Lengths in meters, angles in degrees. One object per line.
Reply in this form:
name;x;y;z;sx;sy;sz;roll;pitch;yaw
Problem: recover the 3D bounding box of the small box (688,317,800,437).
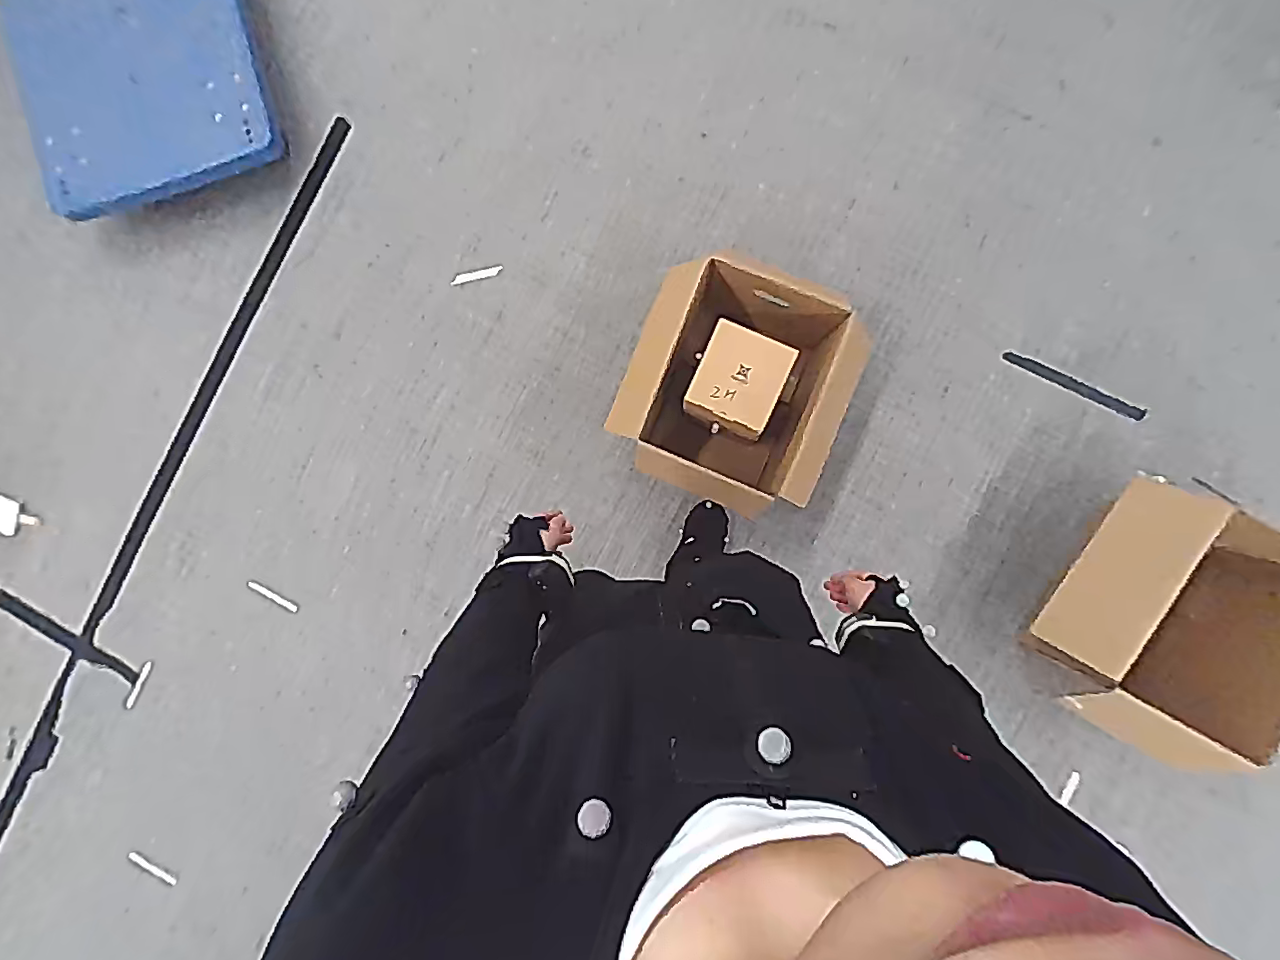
small box;0.204;-0.204;1.118;0.168;0.176;0.179;24;92;4
